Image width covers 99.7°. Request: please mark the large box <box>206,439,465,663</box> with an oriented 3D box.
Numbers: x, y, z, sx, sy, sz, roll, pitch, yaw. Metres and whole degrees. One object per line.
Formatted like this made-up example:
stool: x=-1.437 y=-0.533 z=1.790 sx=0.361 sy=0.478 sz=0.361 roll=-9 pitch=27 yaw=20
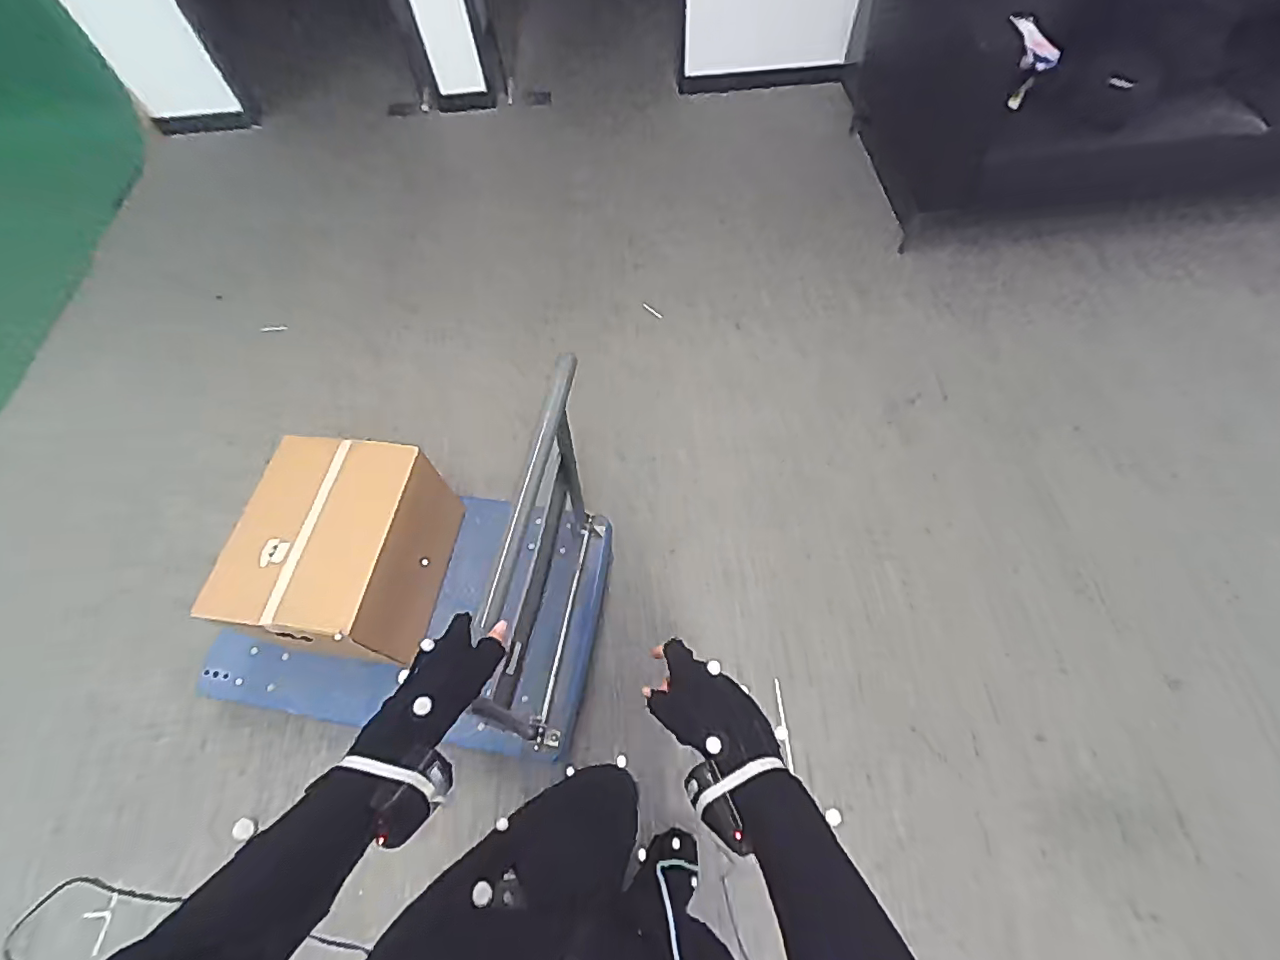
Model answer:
large box: x=-0.634 y=0.164 z=1.218 sx=0.320 sy=0.320 sz=0.408 roll=5 pitch=62 yaw=6
